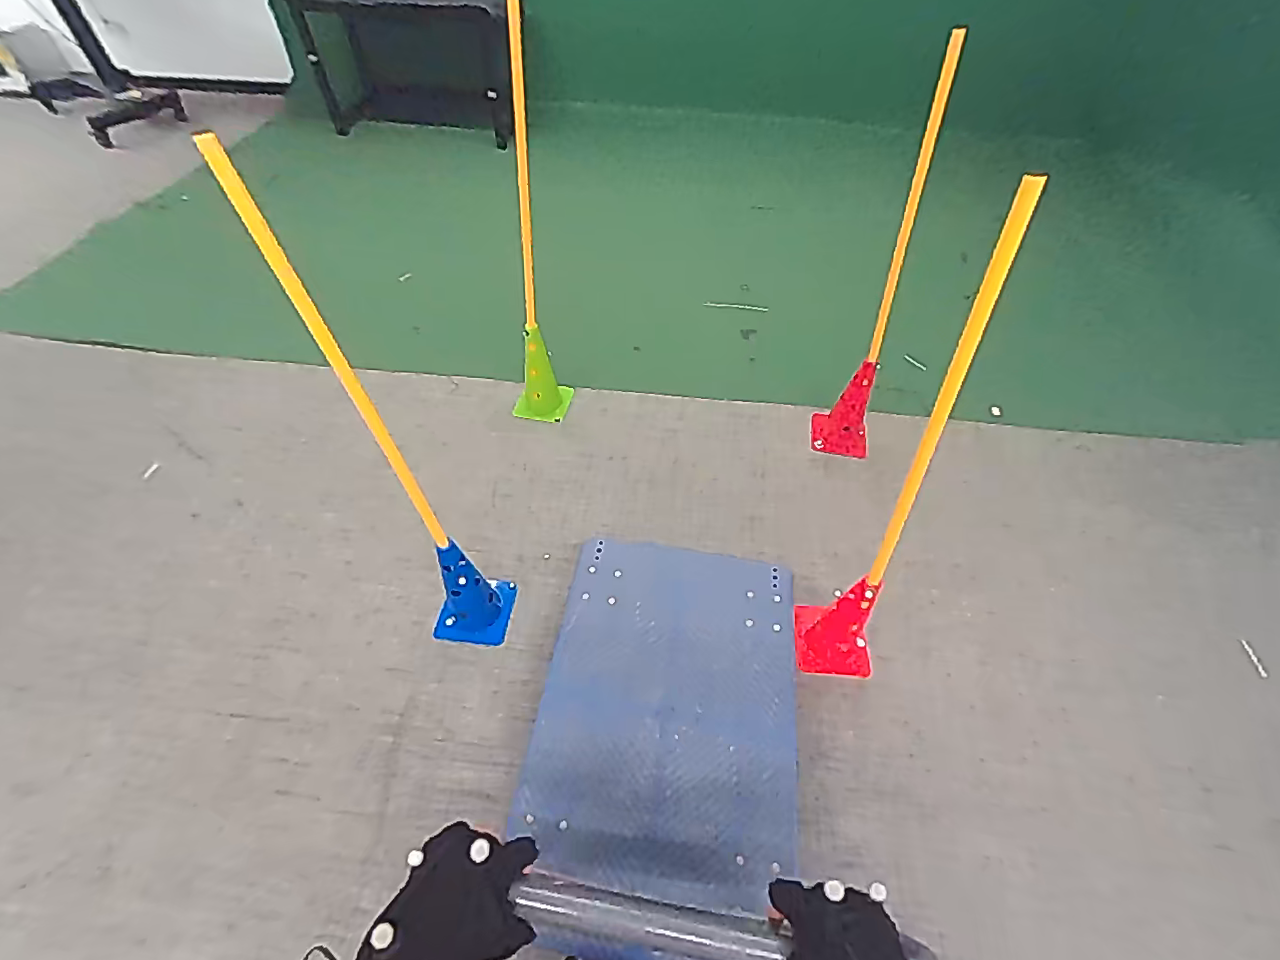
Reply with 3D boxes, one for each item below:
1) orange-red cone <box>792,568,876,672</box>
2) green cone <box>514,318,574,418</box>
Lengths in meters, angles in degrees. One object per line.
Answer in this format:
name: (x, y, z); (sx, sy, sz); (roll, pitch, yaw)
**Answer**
orange-red cone: (0.534, 0.334, 1.403); (0.199, 0.360, 0.198); (4, 51, 4)
green cone: (-0.373, -0.429, 1.982); (0.202, 0.368, 0.200); (9, 51, 6)
